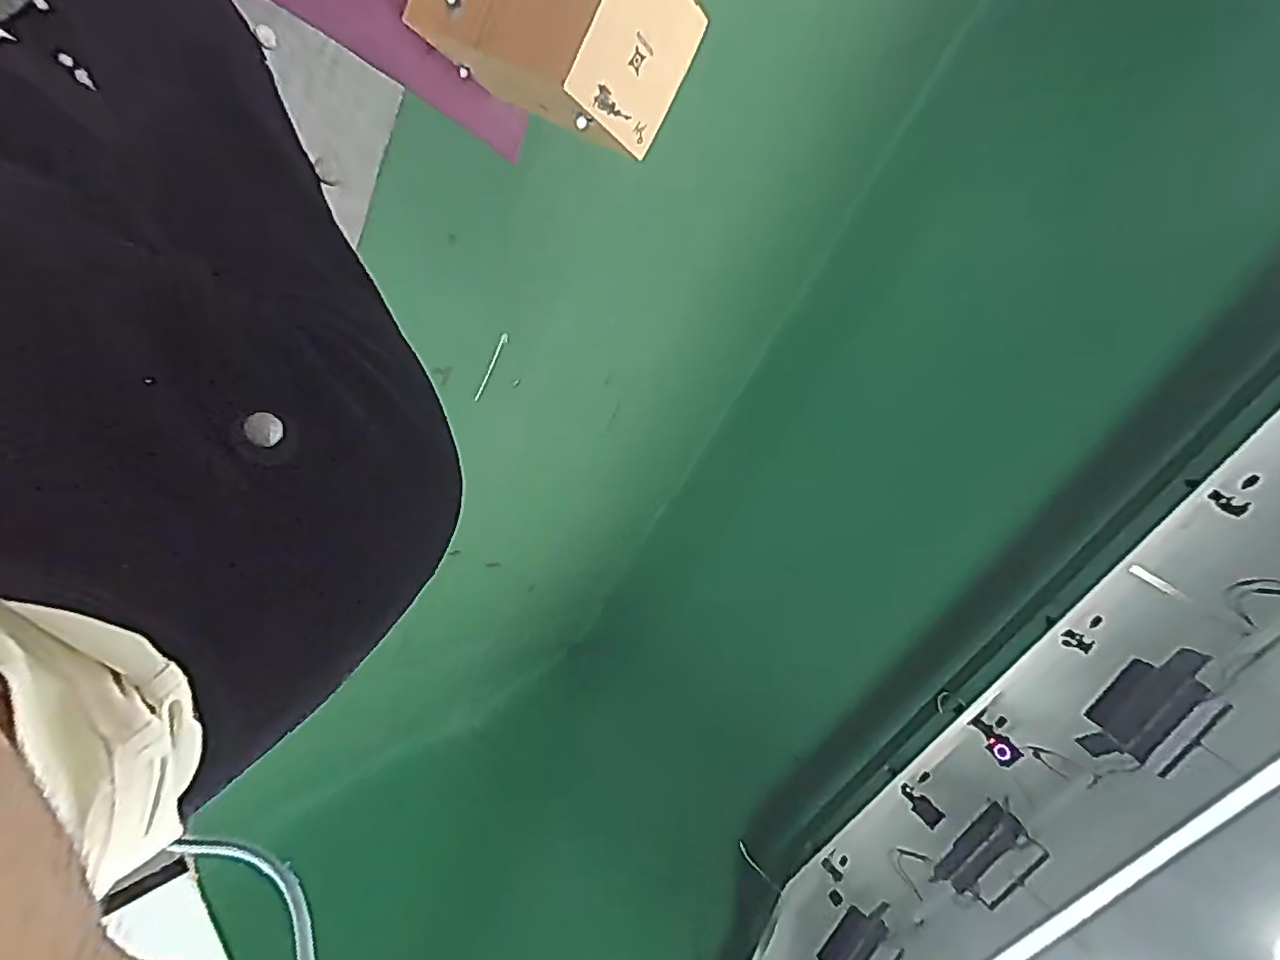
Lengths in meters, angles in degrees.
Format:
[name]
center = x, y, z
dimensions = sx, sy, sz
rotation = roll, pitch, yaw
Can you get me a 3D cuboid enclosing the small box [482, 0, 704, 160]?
[small box]
center = -0.059, -0.537, 0.652
dimensions = 0.168, 0.176, 0.179
rotation = 0, 125, -58
